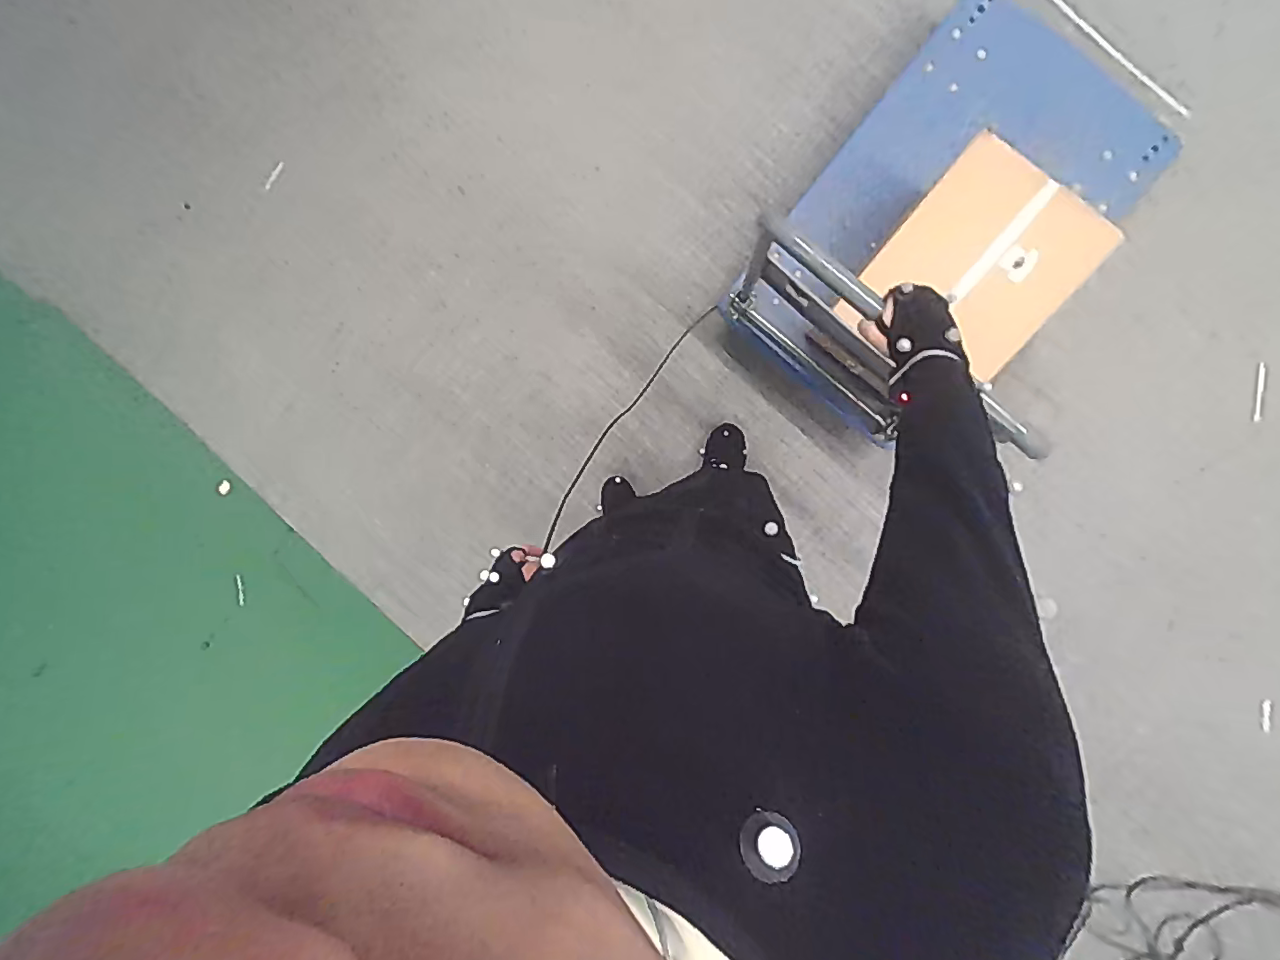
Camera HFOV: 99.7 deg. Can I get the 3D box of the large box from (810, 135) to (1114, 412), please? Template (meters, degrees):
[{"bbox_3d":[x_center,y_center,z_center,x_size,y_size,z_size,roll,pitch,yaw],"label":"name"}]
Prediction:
[{"bbox_3d":[0.626,-0.391,1.145,0.320,0.320,0.408,39,102,1],"label":"large box"}]
